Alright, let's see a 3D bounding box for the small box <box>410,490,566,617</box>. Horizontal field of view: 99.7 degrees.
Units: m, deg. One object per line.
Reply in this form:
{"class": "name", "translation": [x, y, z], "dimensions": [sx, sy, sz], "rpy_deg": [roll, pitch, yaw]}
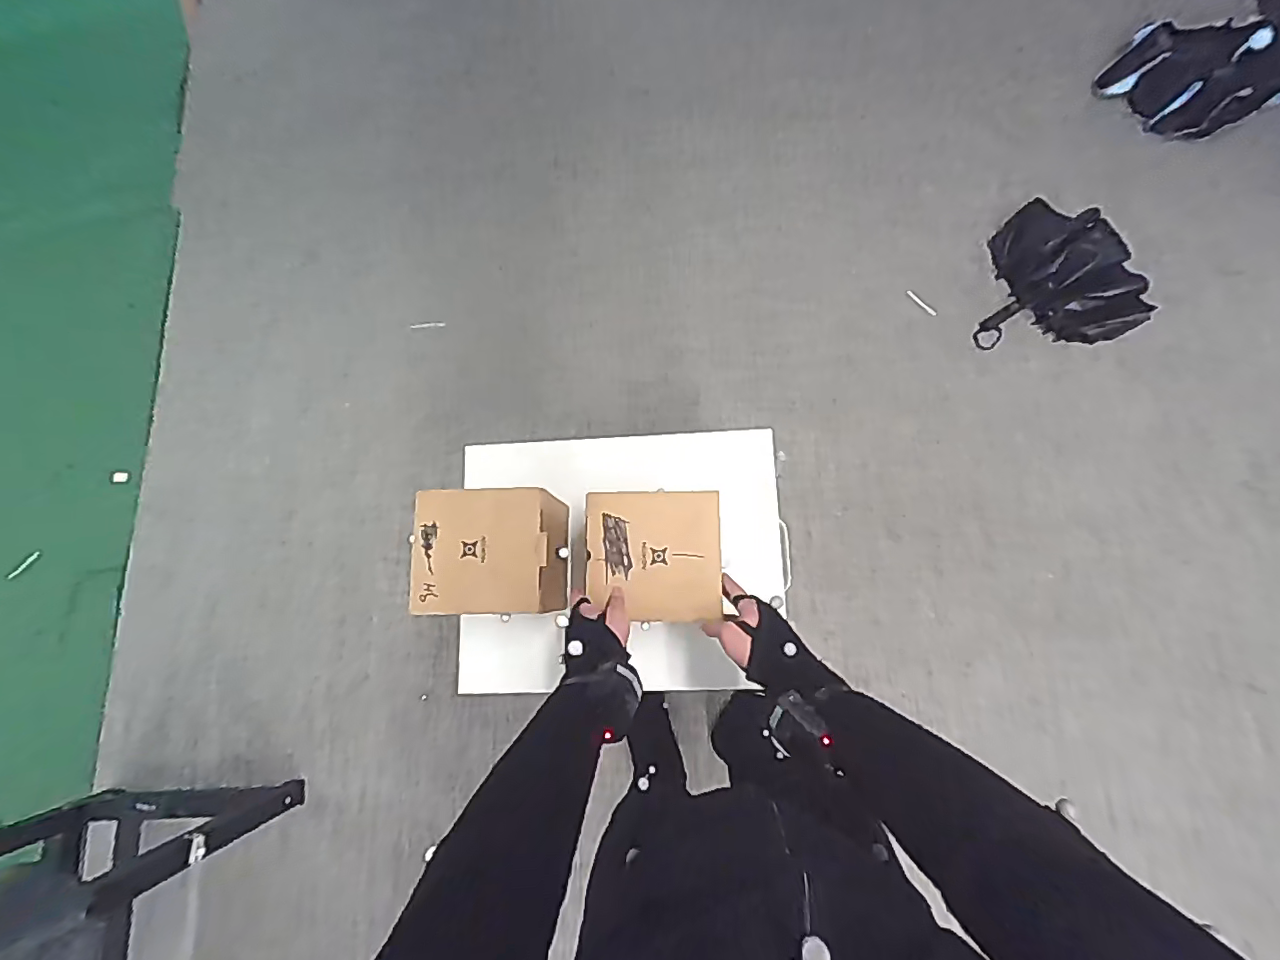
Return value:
{"class": "small box", "translation": [-0.205, 0.107, 0.779], "dimensions": [0.179, 0.176, 0.168], "rpy_deg": [-2, 79, 4]}

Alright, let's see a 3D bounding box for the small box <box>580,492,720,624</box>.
{"class": "small box", "translation": [0.021, 0.111, 0.755], "dimensions": [0.179, 0.176, 0.168], "rpy_deg": [-1, 79, 5]}
